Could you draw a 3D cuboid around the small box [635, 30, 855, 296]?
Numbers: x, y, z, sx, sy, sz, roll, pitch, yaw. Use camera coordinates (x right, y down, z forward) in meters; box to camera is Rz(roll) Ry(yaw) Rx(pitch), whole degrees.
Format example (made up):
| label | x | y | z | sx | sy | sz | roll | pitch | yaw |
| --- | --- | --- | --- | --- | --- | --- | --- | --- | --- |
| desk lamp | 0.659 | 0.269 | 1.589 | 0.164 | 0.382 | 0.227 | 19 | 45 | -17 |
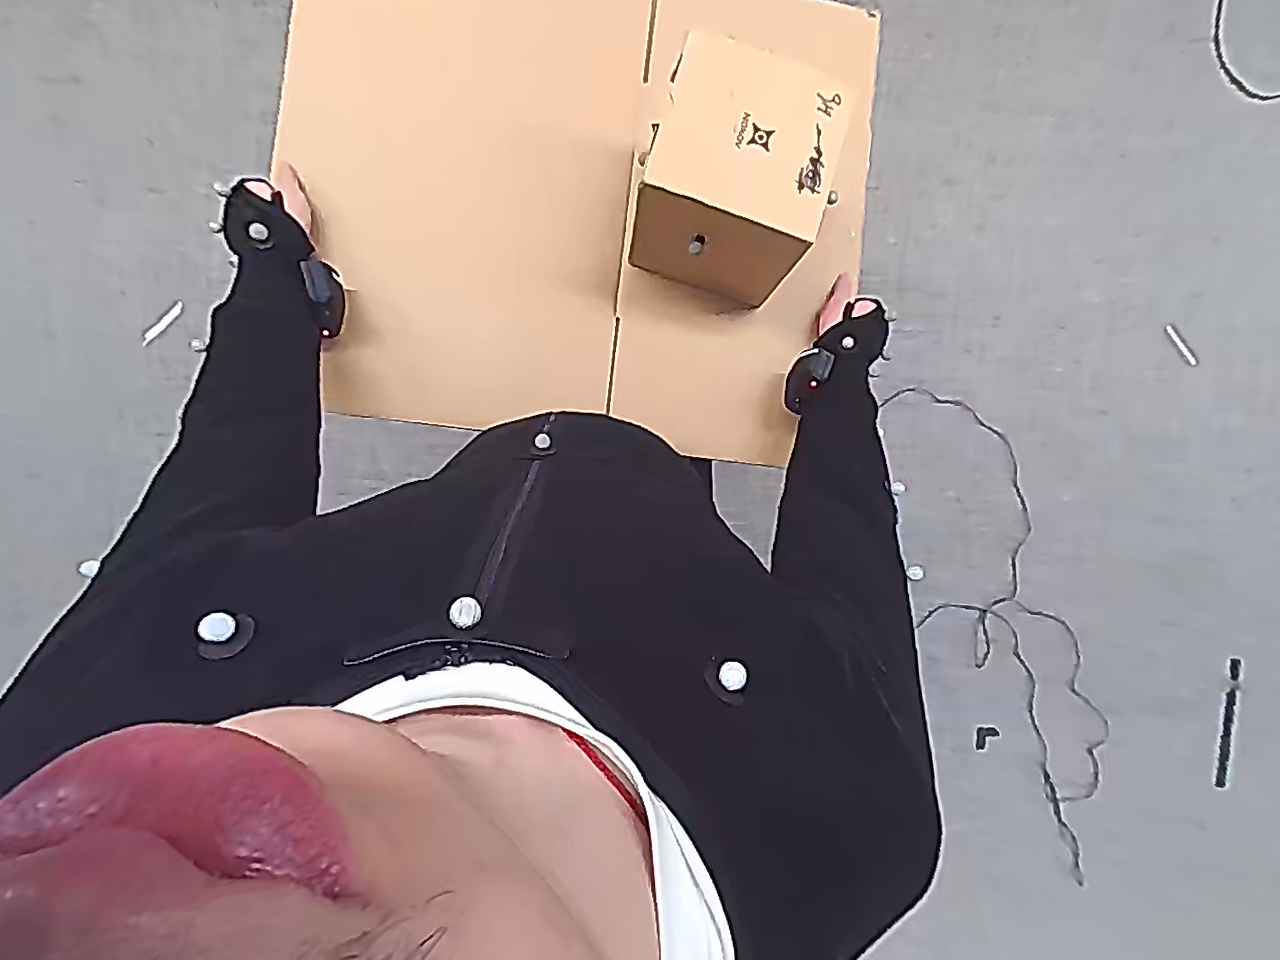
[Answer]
| label | x | y | z | sx | sy | sz | roll | pitch | yaw |
| --- | --- | --- | --- | --- | --- | --- | --- | --- | --- |
| small box | 0.100 | -0.328 | 0.598 | 0.179 | 0.176 | 0.168 | 17 | 86 | -3 |
